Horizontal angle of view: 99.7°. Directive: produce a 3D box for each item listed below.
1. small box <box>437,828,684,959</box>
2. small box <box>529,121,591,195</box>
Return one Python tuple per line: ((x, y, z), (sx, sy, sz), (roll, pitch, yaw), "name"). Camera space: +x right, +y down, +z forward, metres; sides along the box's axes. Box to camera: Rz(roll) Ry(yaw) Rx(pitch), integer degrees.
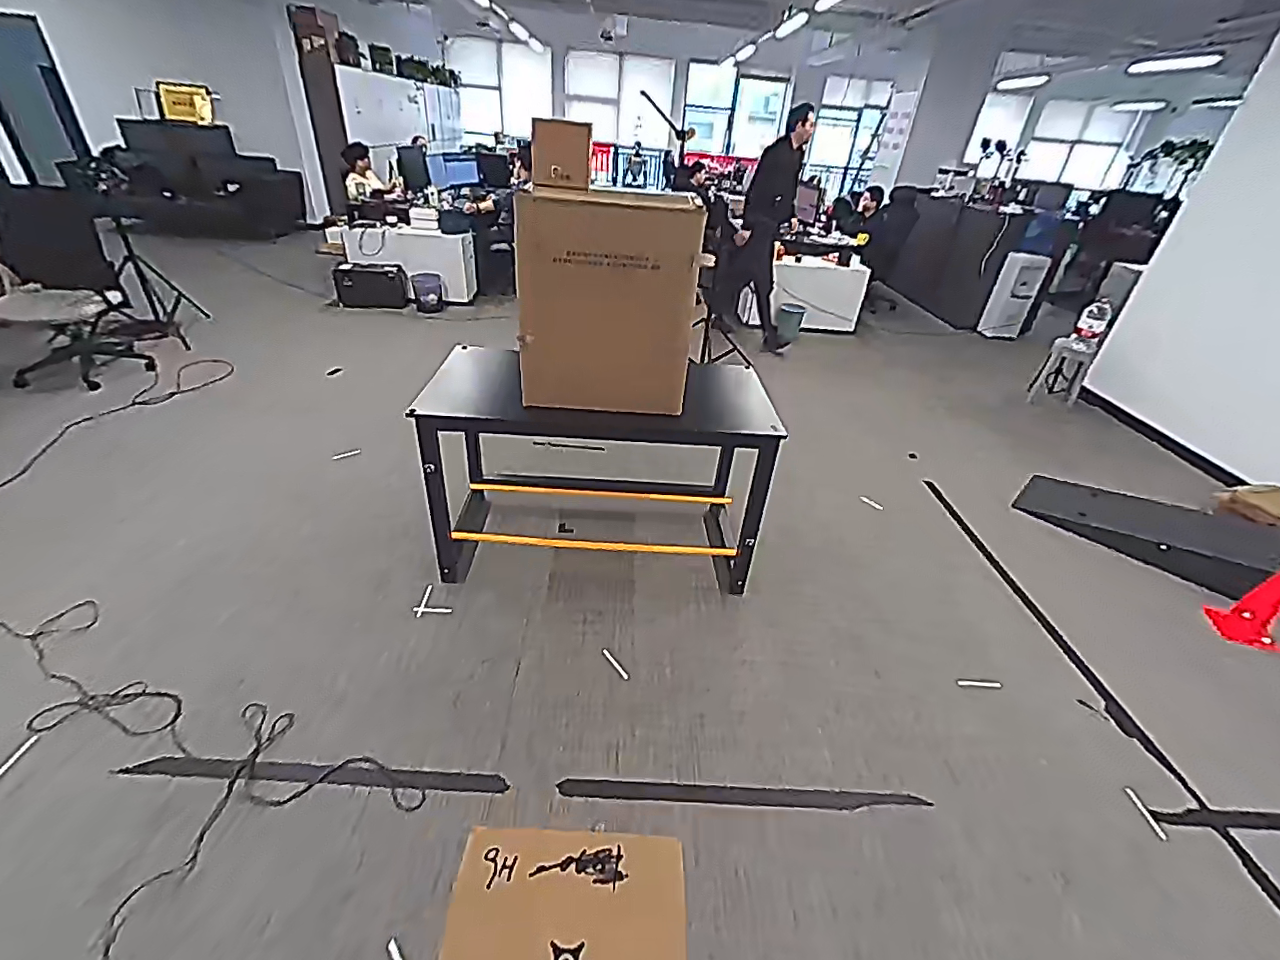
((-0.056, 0.387, 0.398), (0.168, 0.176, 0.179), (4, 39, -2), "small box")
((-0.232, -0.948, 1.594), (0.168, 0.176, 0.179), (1, 33, -5), "small box")
